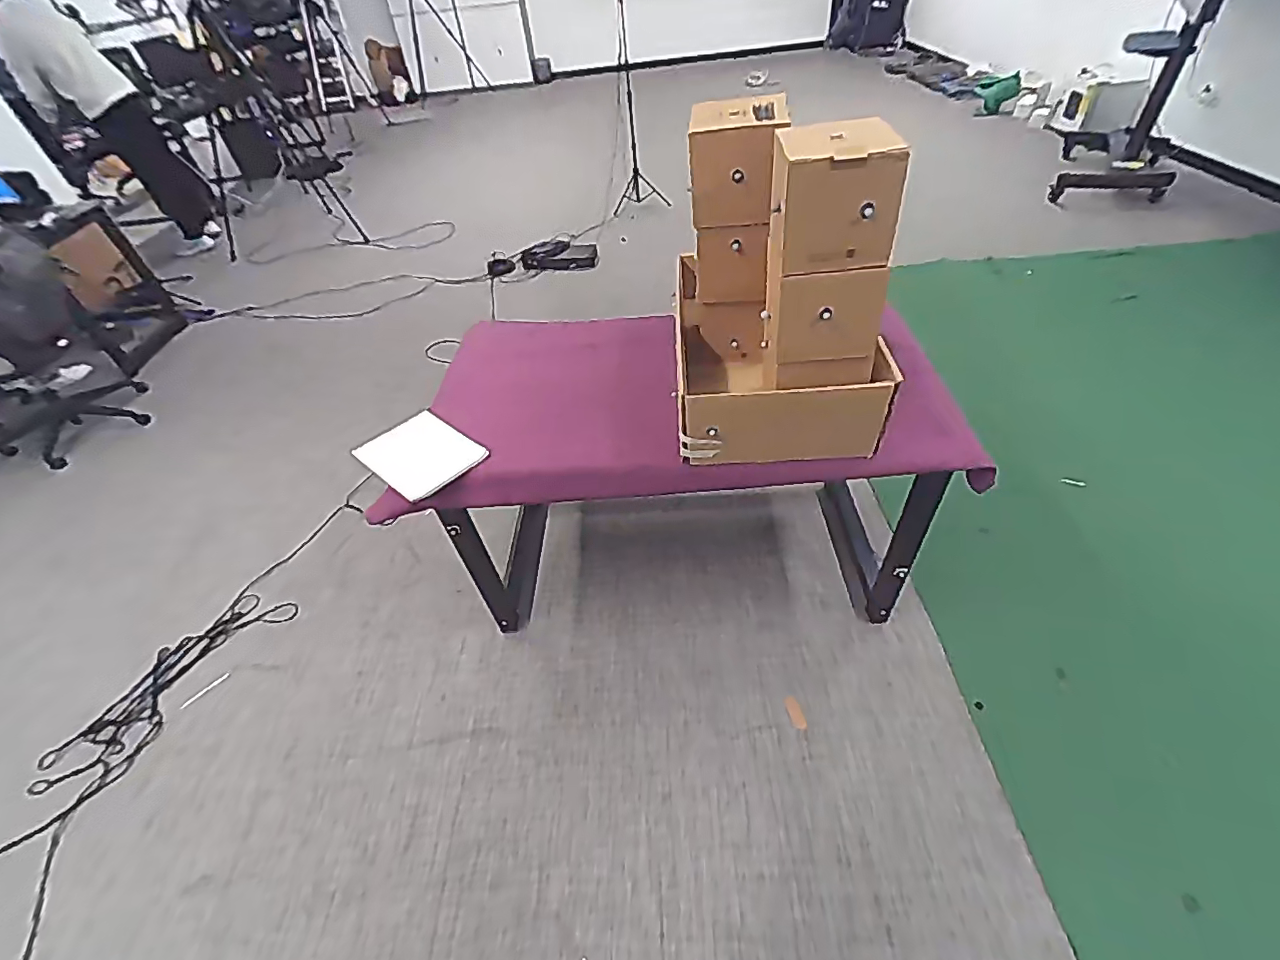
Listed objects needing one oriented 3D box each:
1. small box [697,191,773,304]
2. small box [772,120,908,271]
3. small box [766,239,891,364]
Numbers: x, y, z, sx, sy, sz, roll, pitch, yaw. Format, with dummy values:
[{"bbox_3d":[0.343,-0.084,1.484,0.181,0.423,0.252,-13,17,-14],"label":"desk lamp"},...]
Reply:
[{"bbox_3d":[0.215,-0.493,1.155,0.179,0.176,0.168,1,49,10],"label":"small box"},{"bbox_3d":[0.304,-0.445,0.860,0.168,0.176,0.179,-2,45,7],"label":"small box"},{"bbox_3d":[0.325,-0.327,0.970,0.179,0.176,0.168,-3,45,8],"label":"small box"}]
